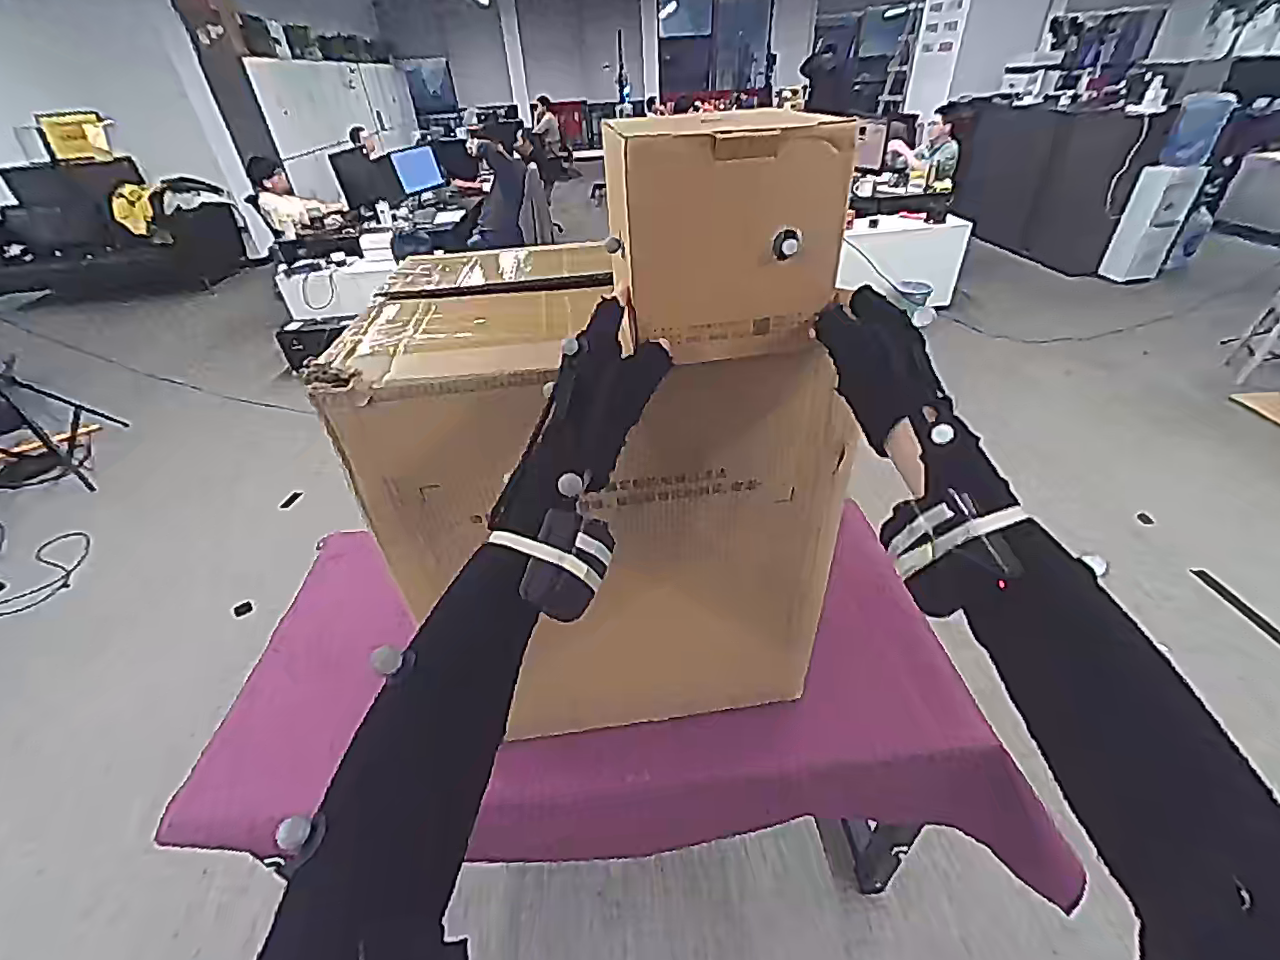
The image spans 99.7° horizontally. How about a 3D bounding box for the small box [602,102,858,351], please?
[{"bbox_3d":[0.062,-0.218,0.470,0.168,0.176,0.179,-7,36,-6],"label":"small box"}]
